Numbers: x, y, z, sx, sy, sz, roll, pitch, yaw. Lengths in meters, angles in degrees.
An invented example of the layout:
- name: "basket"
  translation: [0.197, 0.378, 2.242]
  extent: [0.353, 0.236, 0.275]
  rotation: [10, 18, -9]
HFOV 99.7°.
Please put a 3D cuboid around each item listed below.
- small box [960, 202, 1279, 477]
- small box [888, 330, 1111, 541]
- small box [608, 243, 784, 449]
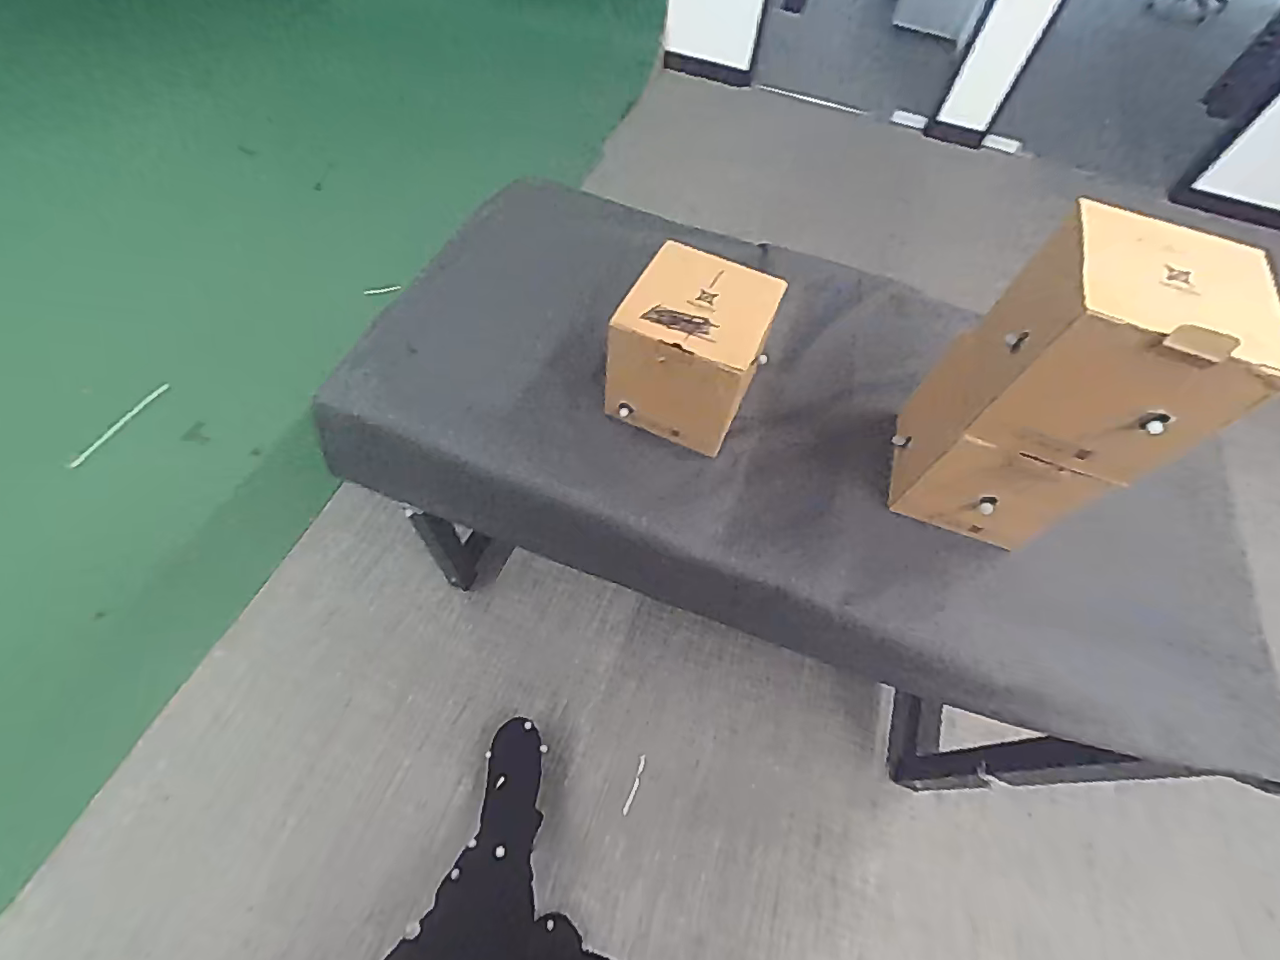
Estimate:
- name: "small box"
  translation: [0.448, -0.131, 0.536]
  extent: [0.168, 0.176, 0.179]
  rotation: [22, 58, 7]
- name: "small box"
  translation: [0.430, -0.048, 0.675]
  extent: [0.168, 0.176, 0.179]
  rotation: [19, 59, 6]
- name: "small box"
  translation: [0.067, -0.170, 0.713]
  extent: [0.168, 0.176, 0.179]
  rotation: [23, 58, 8]
